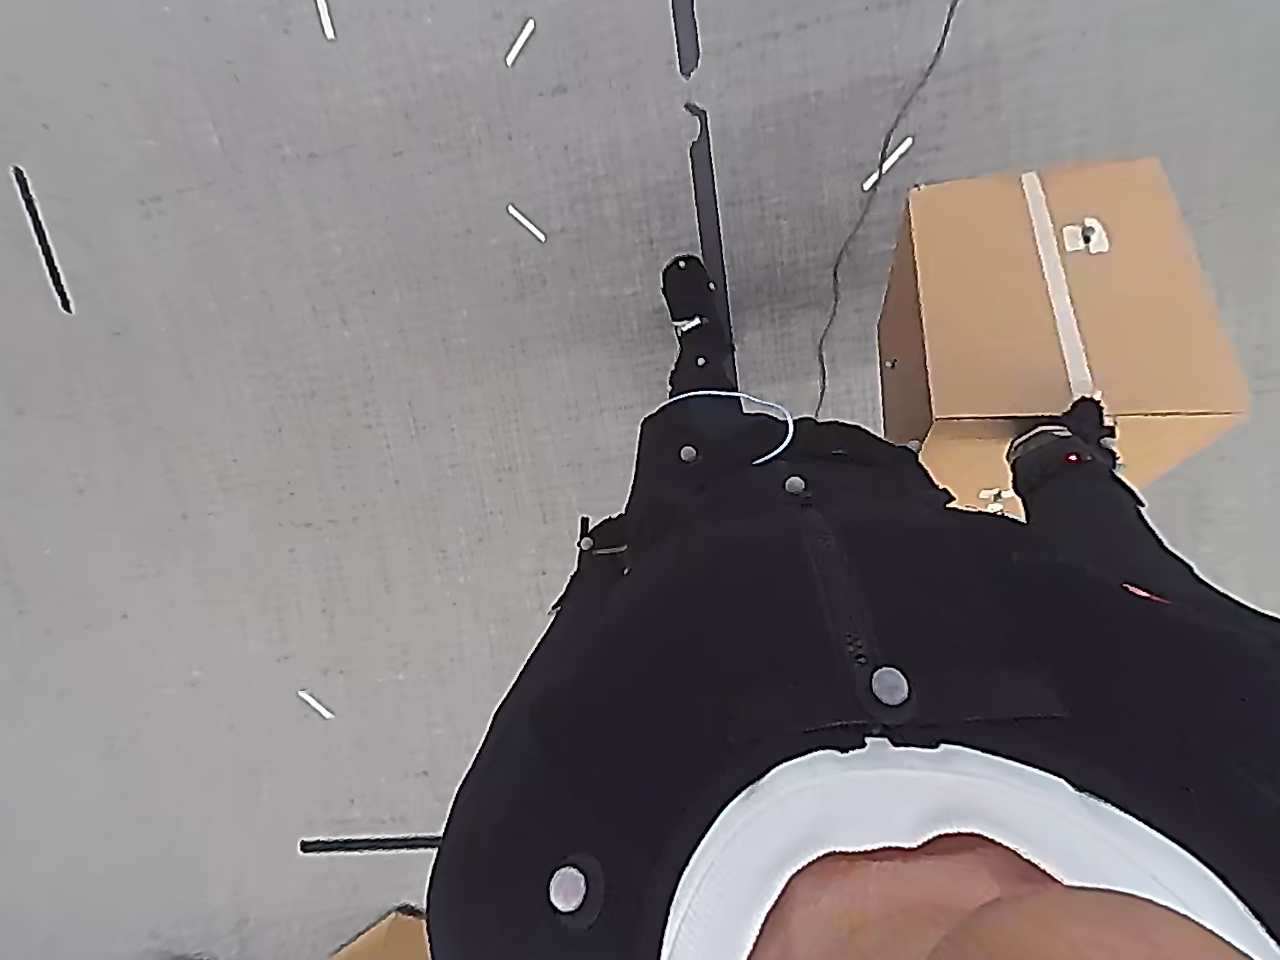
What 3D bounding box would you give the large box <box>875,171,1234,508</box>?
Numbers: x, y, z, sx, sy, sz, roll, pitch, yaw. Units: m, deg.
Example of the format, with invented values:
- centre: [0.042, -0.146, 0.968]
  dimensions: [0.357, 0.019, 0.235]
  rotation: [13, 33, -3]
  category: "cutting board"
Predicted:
- centre: [0.567, -0.194, 0.847]
  dimensions: [0.320, 0.320, 0.408]
  rotation: [1, 65, 14]
  category: "large box"
